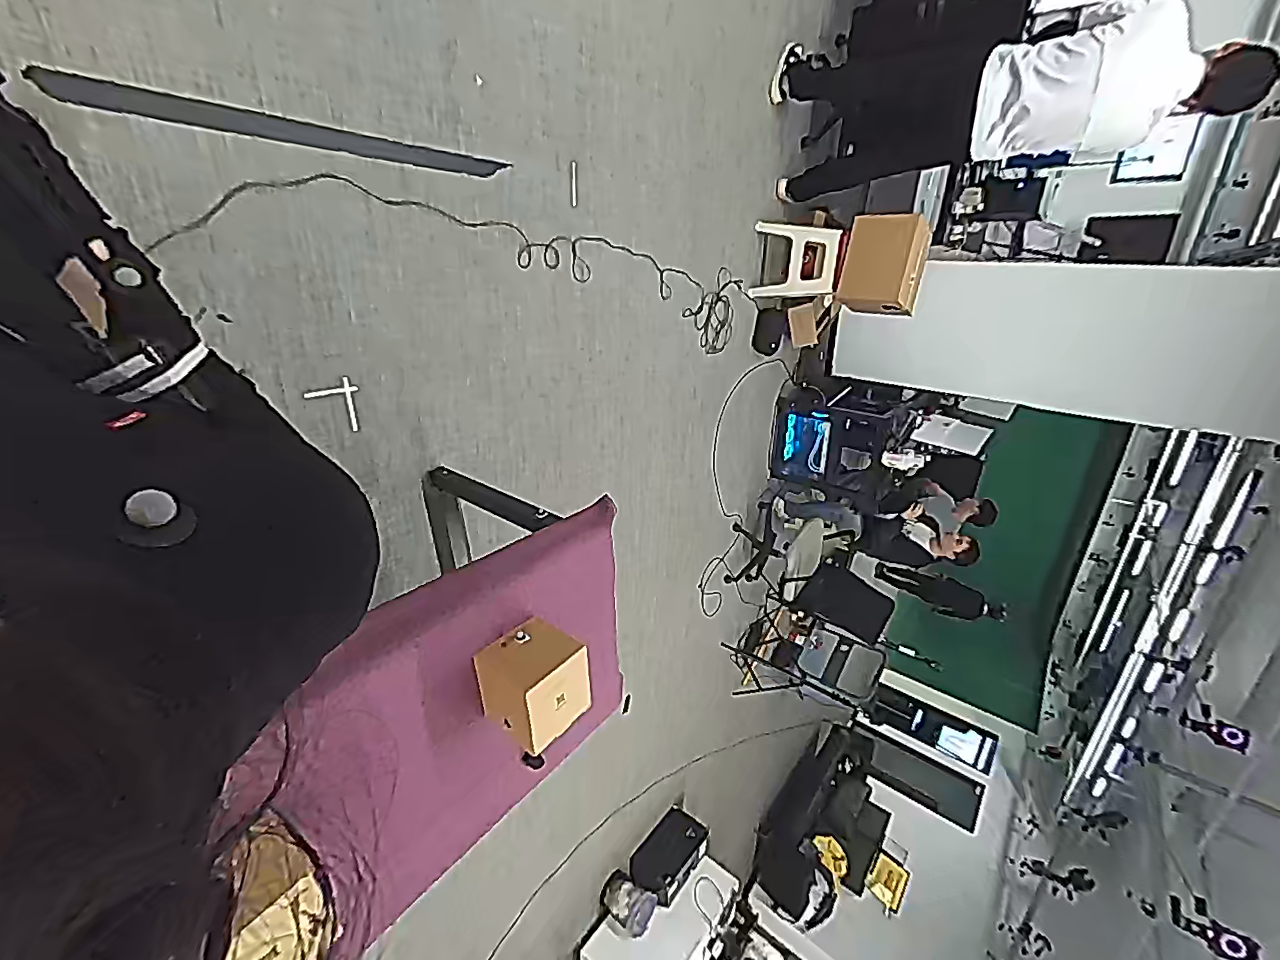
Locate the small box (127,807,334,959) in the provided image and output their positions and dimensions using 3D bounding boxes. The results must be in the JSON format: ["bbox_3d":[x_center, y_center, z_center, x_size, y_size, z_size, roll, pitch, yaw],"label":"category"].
[{"bbox_3d":[-0.575,0.619,0.761,0.179,0.176,0.168,-30,128,-43],"label":"small box"}]

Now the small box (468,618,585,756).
[{"bbox_3d":[-0.236,0.425,1.138,0.168,0.176,0.179,-30,127,-45],"label":"small box"}]
